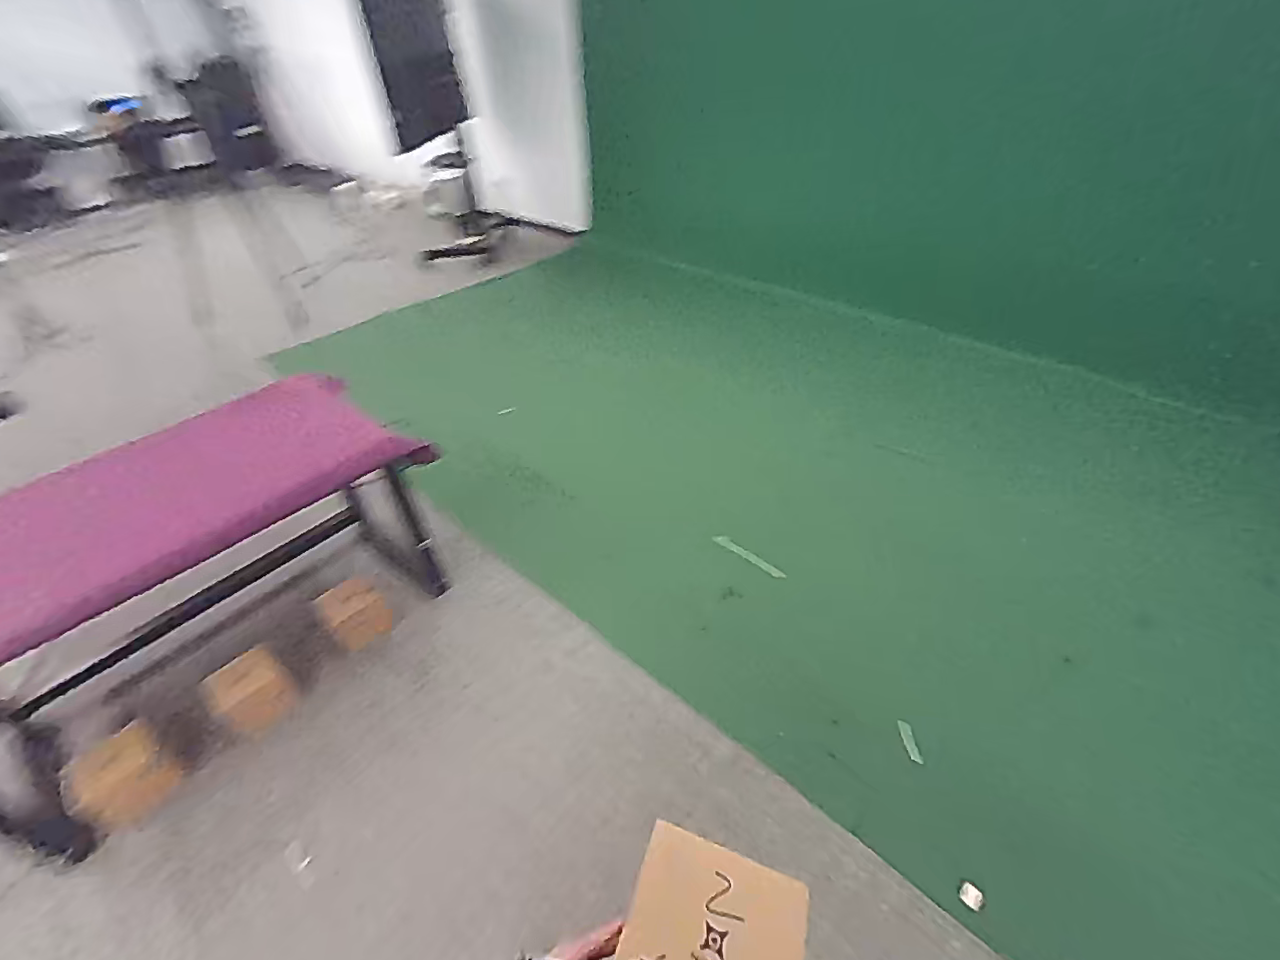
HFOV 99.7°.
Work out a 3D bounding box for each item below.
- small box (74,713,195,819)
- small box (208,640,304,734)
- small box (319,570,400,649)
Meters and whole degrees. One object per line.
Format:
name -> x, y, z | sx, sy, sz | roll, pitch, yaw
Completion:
small box -> -1.418, 0.808, 1.523 | 0.168, 0.176, 0.179 | 28, 49, 30
small box -> -1.193, 0.650, 1.697 | 0.168, 0.176, 0.179 | 29, 50, 32
small box -> -0.984, 0.460, 1.909 | 0.168, 0.176, 0.179 | 31, 51, 32
